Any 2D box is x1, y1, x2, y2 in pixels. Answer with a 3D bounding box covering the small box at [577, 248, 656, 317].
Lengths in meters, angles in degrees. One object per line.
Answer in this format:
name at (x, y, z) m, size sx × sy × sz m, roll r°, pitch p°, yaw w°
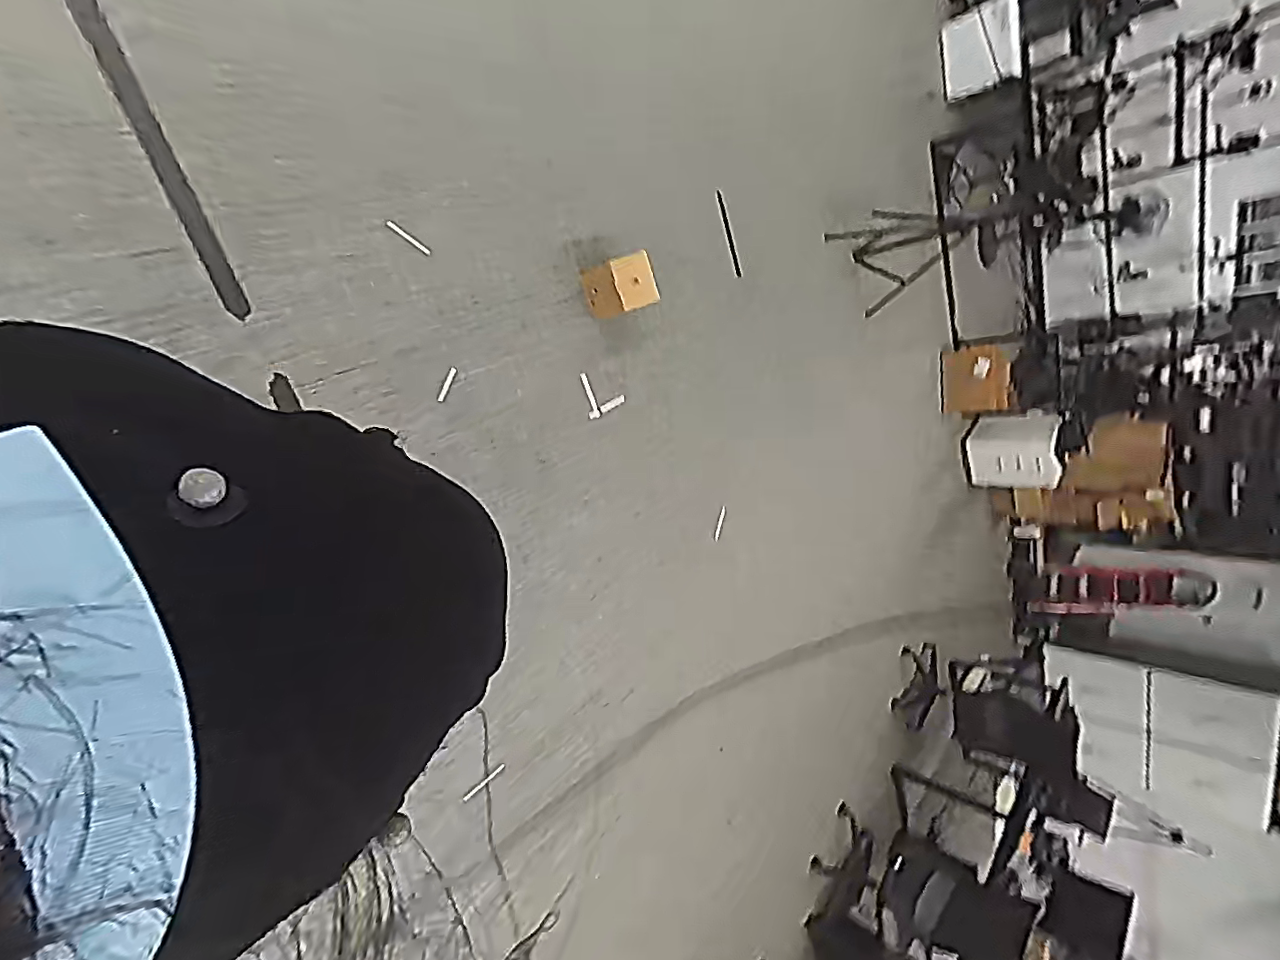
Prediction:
small box at (-0.081, -0.672, 1.846) m, size 0.179 × 0.176 × 0.168 m, roll -34°, pitch 115°, yaw -35°
